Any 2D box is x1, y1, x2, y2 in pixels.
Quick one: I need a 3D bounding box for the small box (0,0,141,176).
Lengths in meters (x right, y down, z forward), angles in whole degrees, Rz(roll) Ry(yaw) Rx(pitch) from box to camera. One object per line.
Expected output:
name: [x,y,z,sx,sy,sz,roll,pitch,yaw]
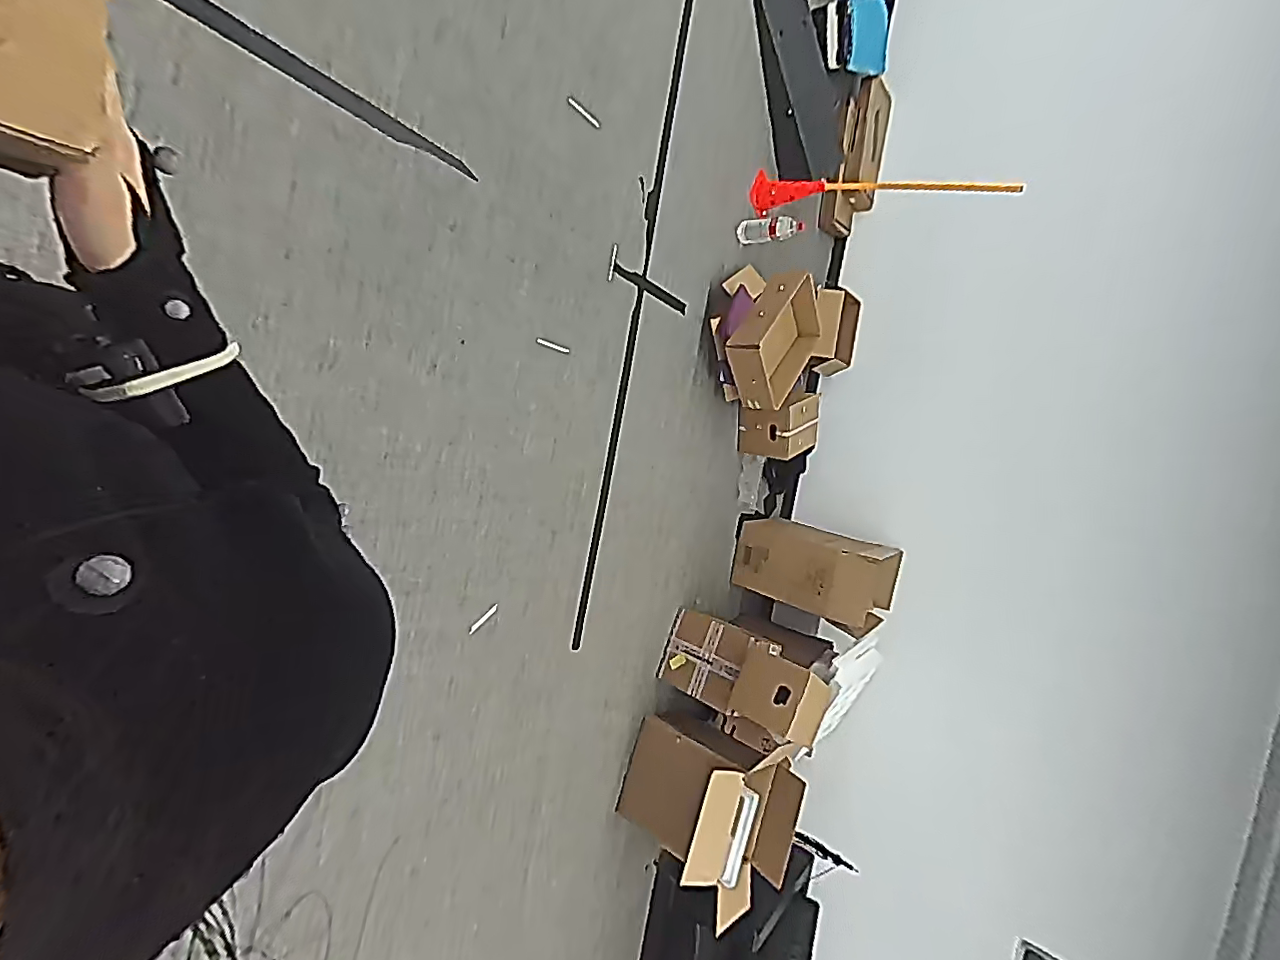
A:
small box: [-0.317,-0.240,0.205,0.168,0.176,0.179,0,107,-55]
